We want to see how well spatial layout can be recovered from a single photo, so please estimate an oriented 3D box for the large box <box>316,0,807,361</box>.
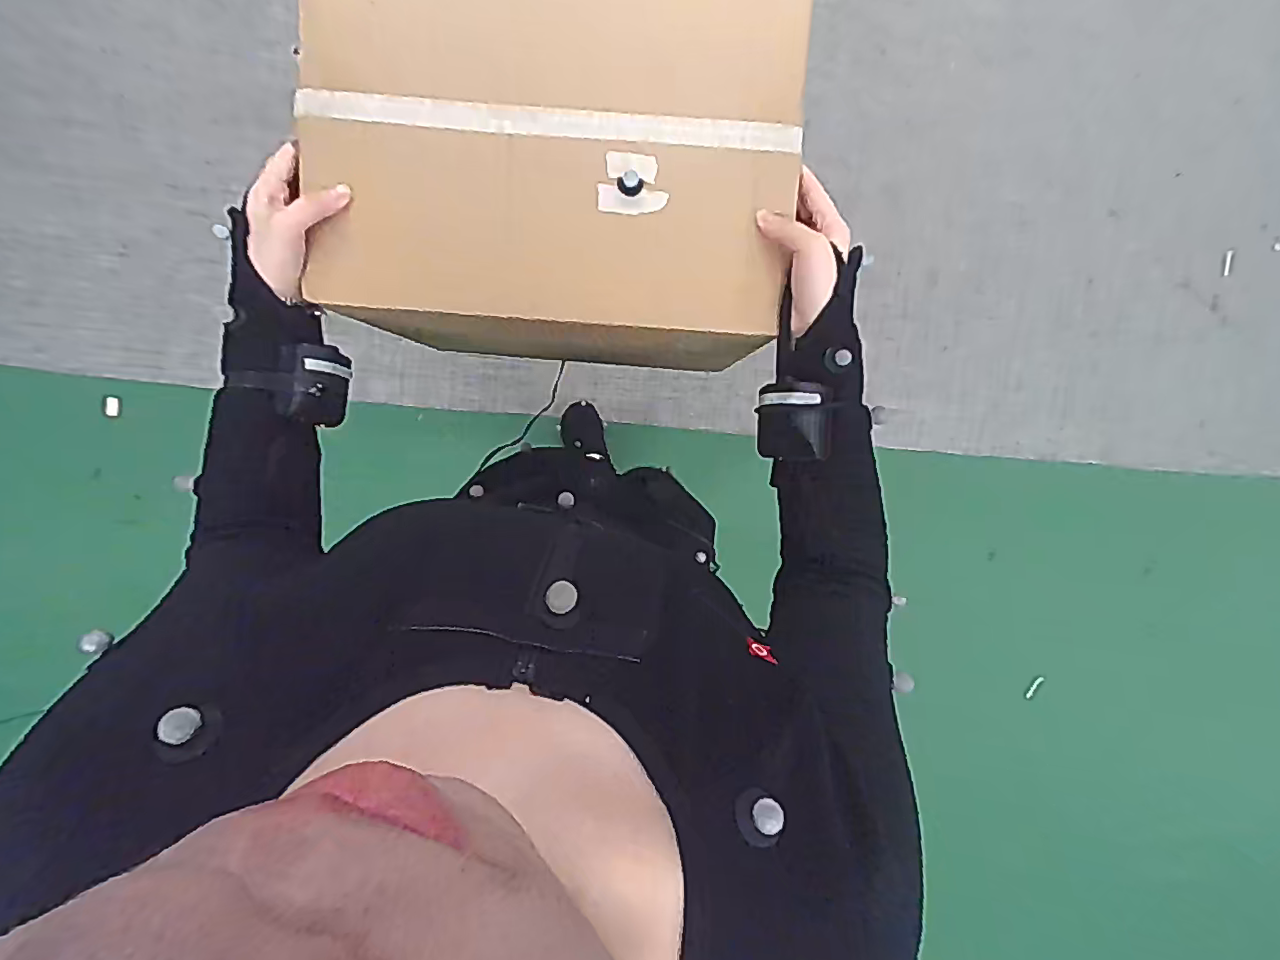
[{"bbox_3d":[-0.072,-0.312,0.596,0.408,0.320,0.320,3,97,-3],"label":"large box"}]
